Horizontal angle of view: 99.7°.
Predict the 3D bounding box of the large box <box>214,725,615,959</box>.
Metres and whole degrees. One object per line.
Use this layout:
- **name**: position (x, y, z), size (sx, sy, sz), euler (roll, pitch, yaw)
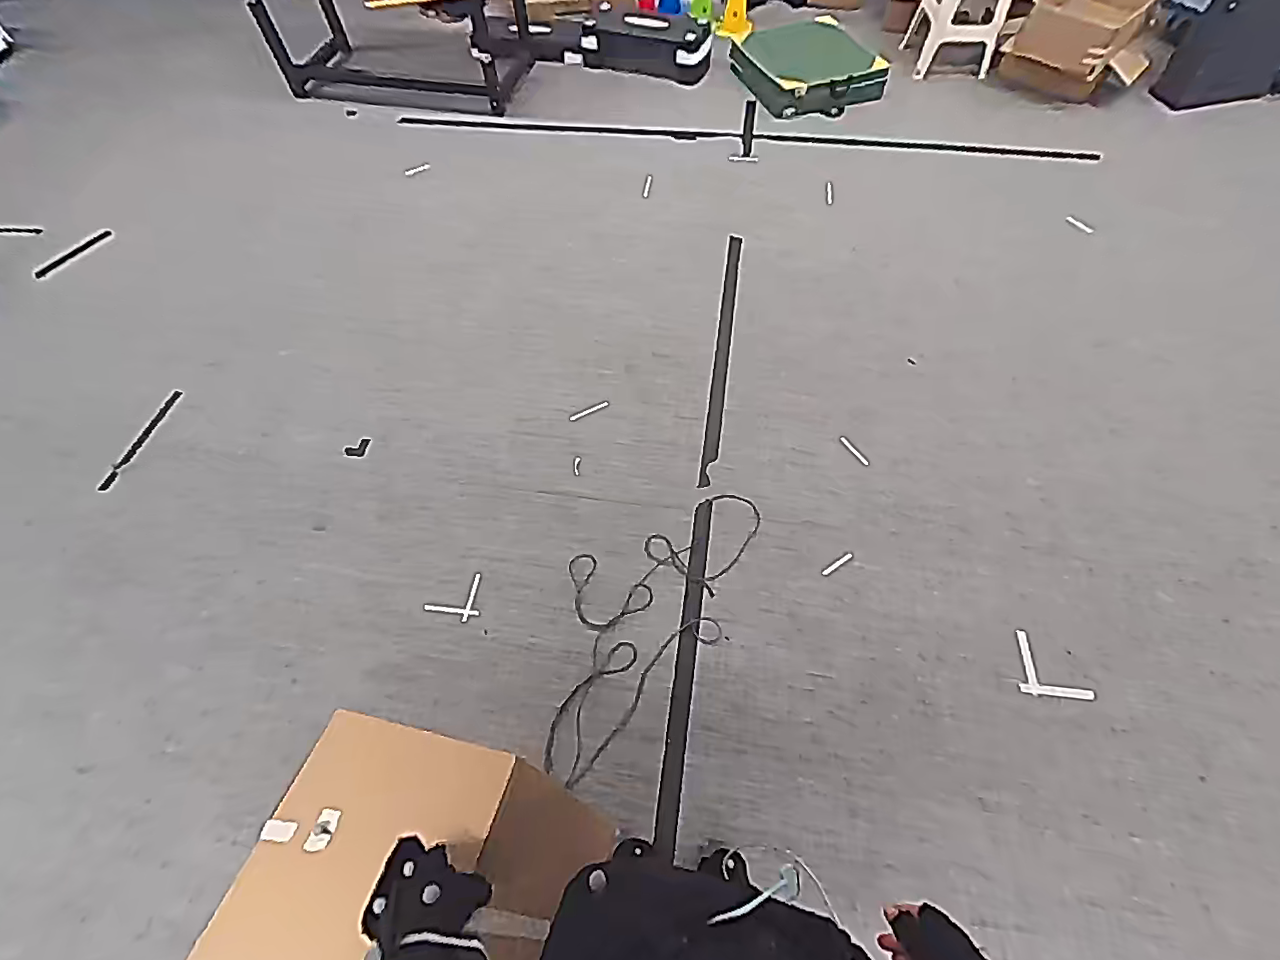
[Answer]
- **large box**: position (-0.273, 0.592, 0.772), size (0.320, 0.408, 0.320), euler (3, 50, 22)
